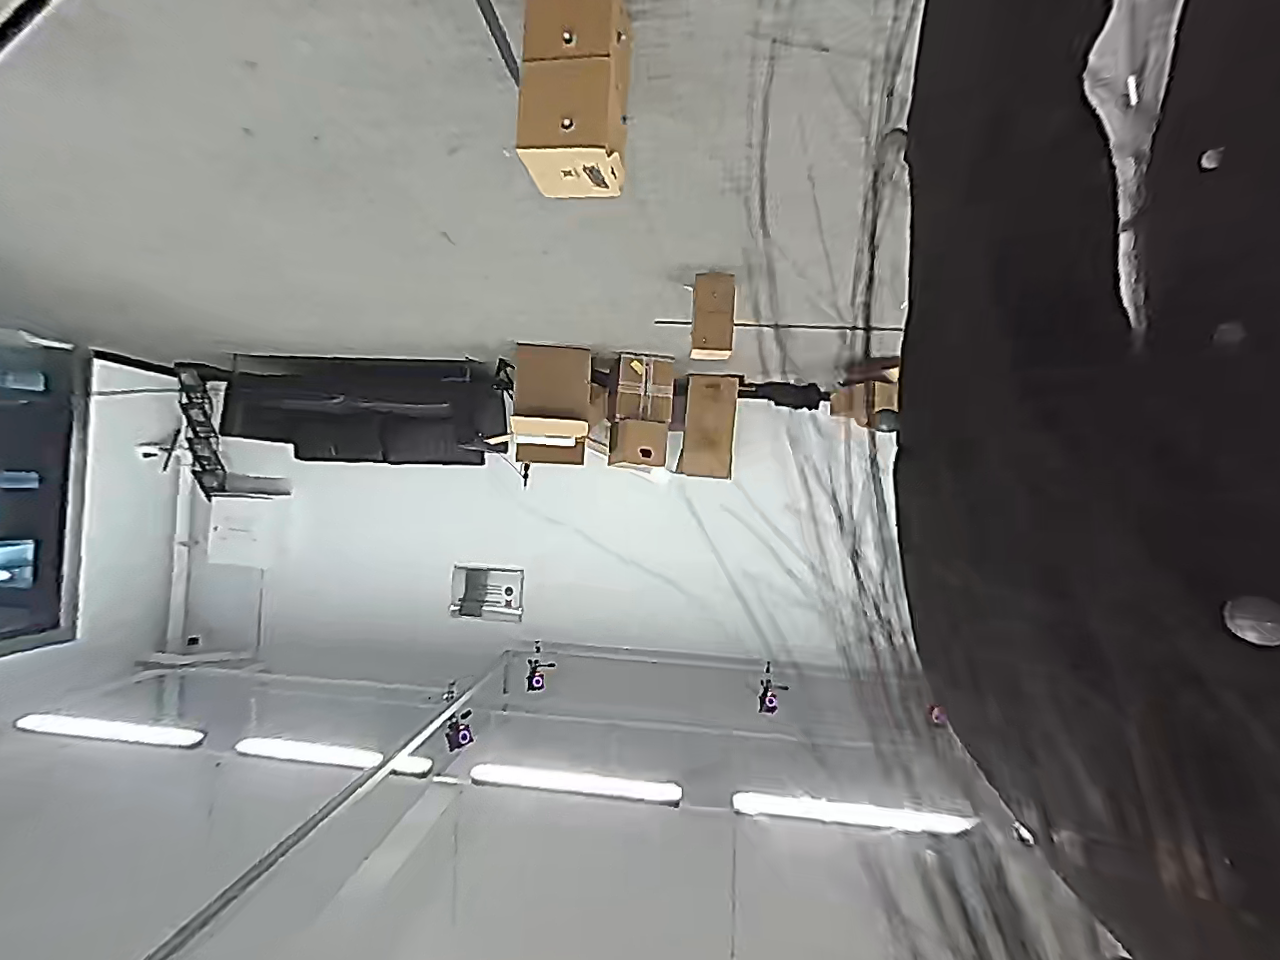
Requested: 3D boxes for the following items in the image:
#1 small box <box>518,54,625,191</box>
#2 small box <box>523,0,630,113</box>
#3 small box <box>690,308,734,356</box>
[{"bbox_3d":[-0.128,-0.698,1.066,0.179,0.176,0.168,4,179,9],"label":"small box"},{"bbox_3d":[-0.117,-0.863,1.072,0.179,0.176,0.168,5,179,10],"label":"small box"},{"bbox_3d":[0.320,-0.661,2.414,0.179,0.176,0.168,3,180,1],"label":"small box"}]
